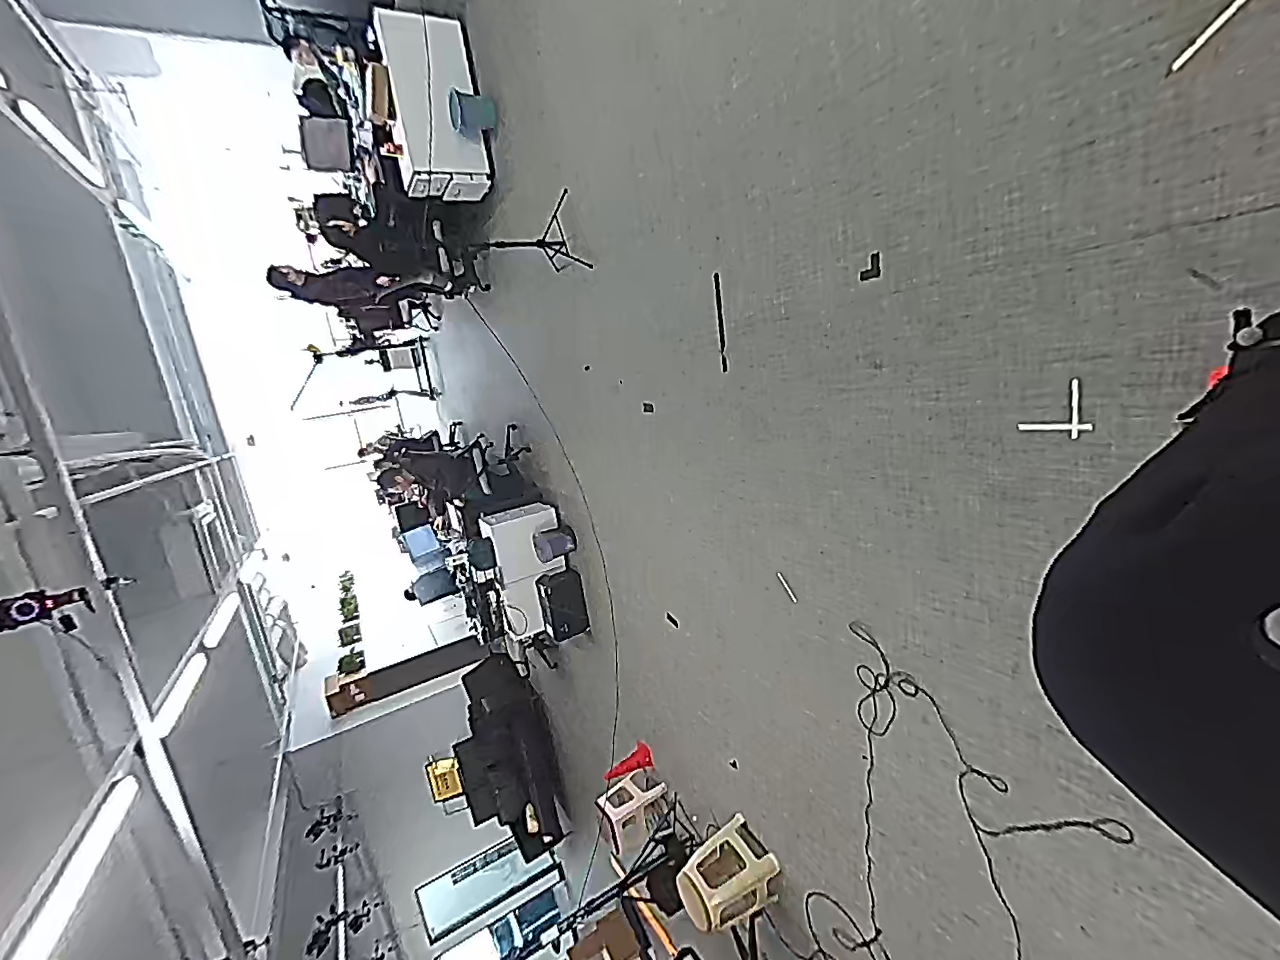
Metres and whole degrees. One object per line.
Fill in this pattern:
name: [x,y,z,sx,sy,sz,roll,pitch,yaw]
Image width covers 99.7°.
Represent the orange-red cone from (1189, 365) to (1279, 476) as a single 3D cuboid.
orange-red cone: [0.999,-0.071,0.893,0.199,0.360,0.198,22,121,58]
